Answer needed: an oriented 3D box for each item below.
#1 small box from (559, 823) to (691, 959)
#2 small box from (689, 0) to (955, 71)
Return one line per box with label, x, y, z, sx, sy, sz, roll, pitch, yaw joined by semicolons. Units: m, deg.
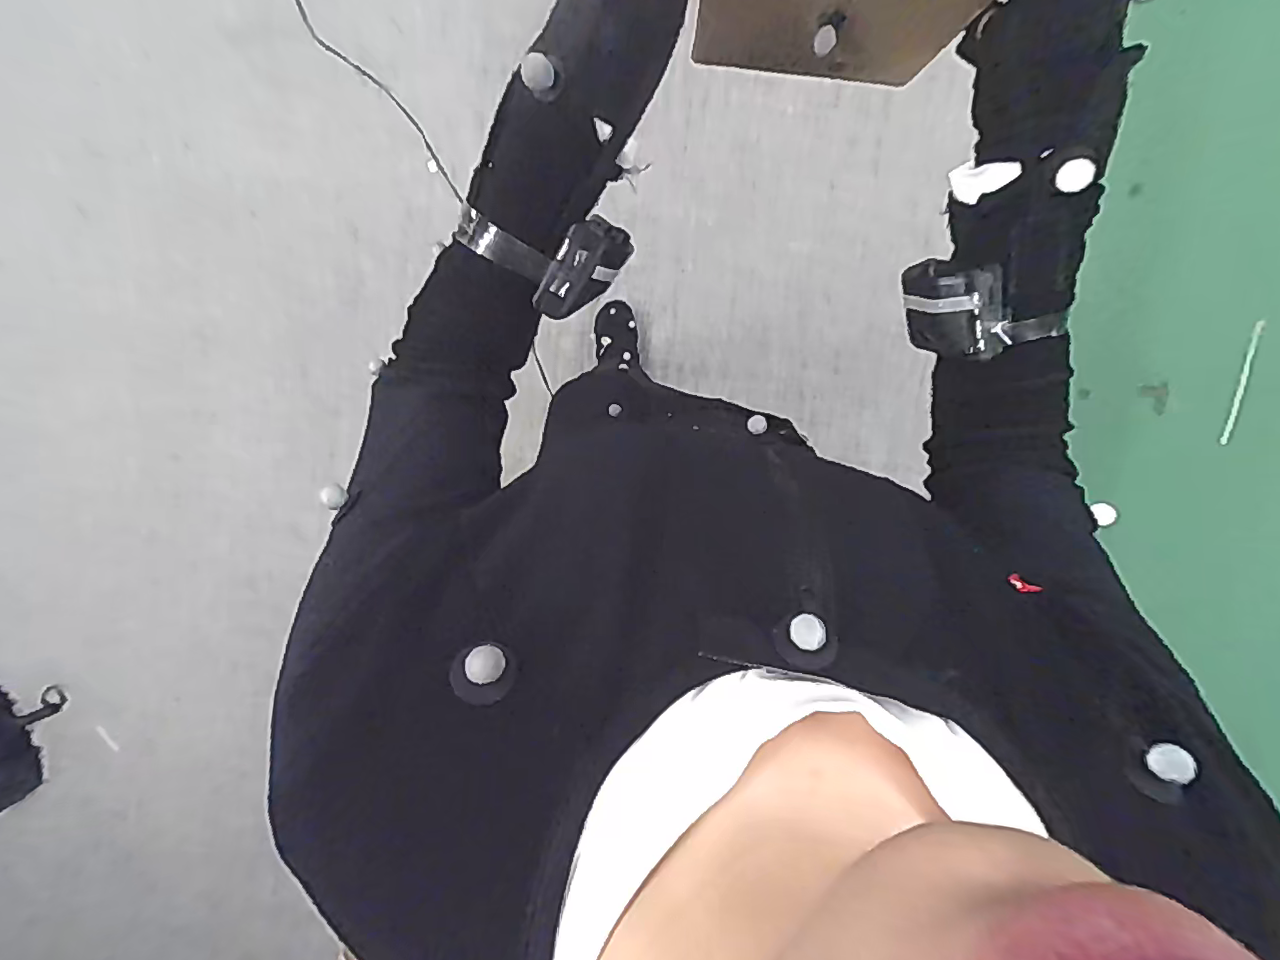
small box;-0.025;0.666;0.829;0.179;0.176;0.168;9;95;1
small box;0.120;-0.372;0.309;0.168;0.176;0.179;6;107;0
